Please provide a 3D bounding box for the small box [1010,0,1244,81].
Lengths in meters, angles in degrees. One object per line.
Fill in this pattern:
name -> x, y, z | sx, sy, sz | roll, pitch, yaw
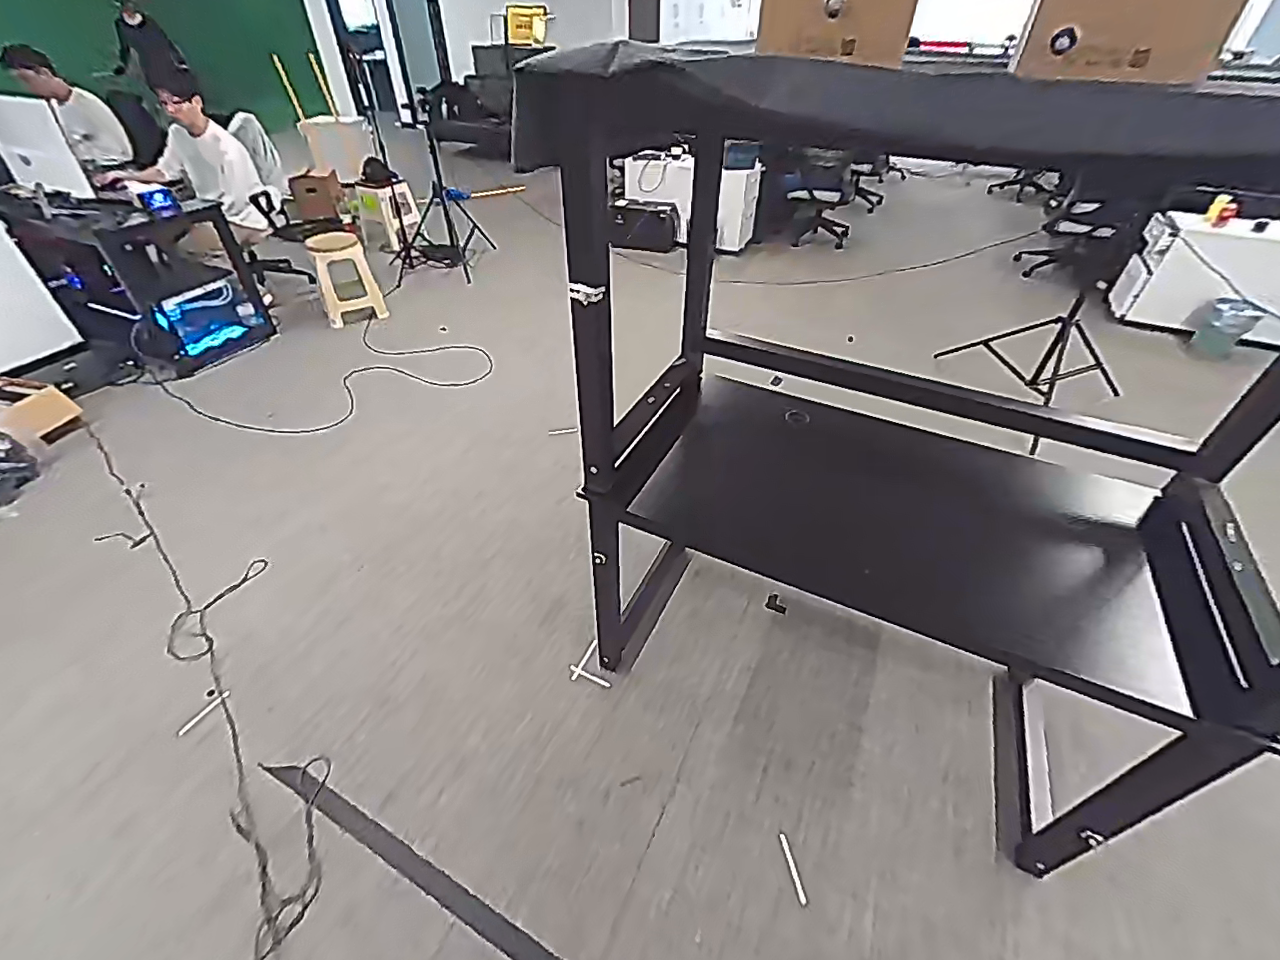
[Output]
small box -> 0.506, -0.515, 0.551 | 0.168, 0.176, 0.179 | 18, 42, 19

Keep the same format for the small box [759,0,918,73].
small box -> 0.241, -0.588, 0.629 | 0.168, 0.176, 0.179 | 12, 41, 13
